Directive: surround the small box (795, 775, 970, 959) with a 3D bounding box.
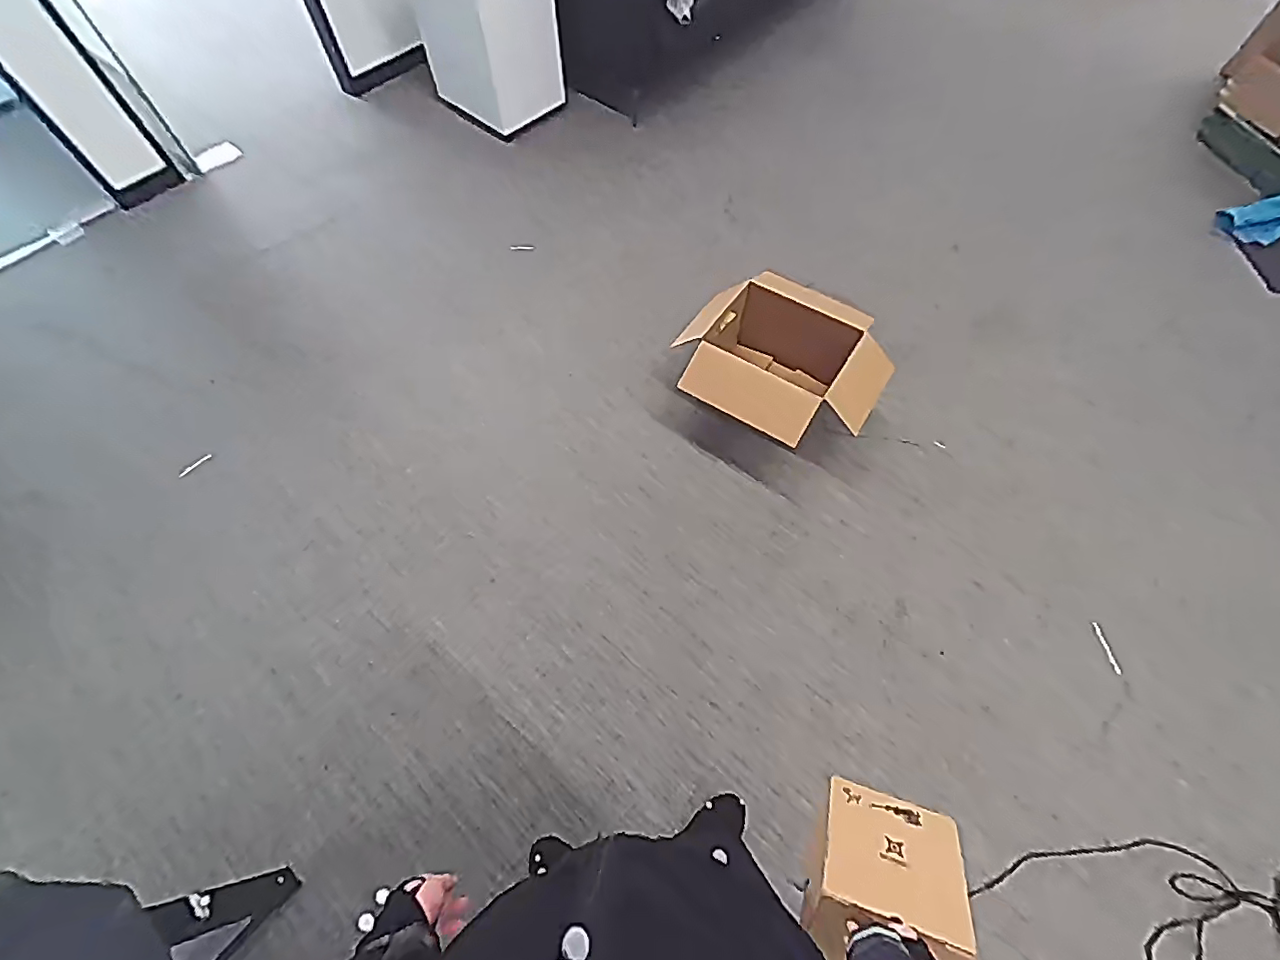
[{"bbox_3d":[0.309,0.545,0.710,0.168,0.176,0.179,14,23,19],"label":"small box"}]
